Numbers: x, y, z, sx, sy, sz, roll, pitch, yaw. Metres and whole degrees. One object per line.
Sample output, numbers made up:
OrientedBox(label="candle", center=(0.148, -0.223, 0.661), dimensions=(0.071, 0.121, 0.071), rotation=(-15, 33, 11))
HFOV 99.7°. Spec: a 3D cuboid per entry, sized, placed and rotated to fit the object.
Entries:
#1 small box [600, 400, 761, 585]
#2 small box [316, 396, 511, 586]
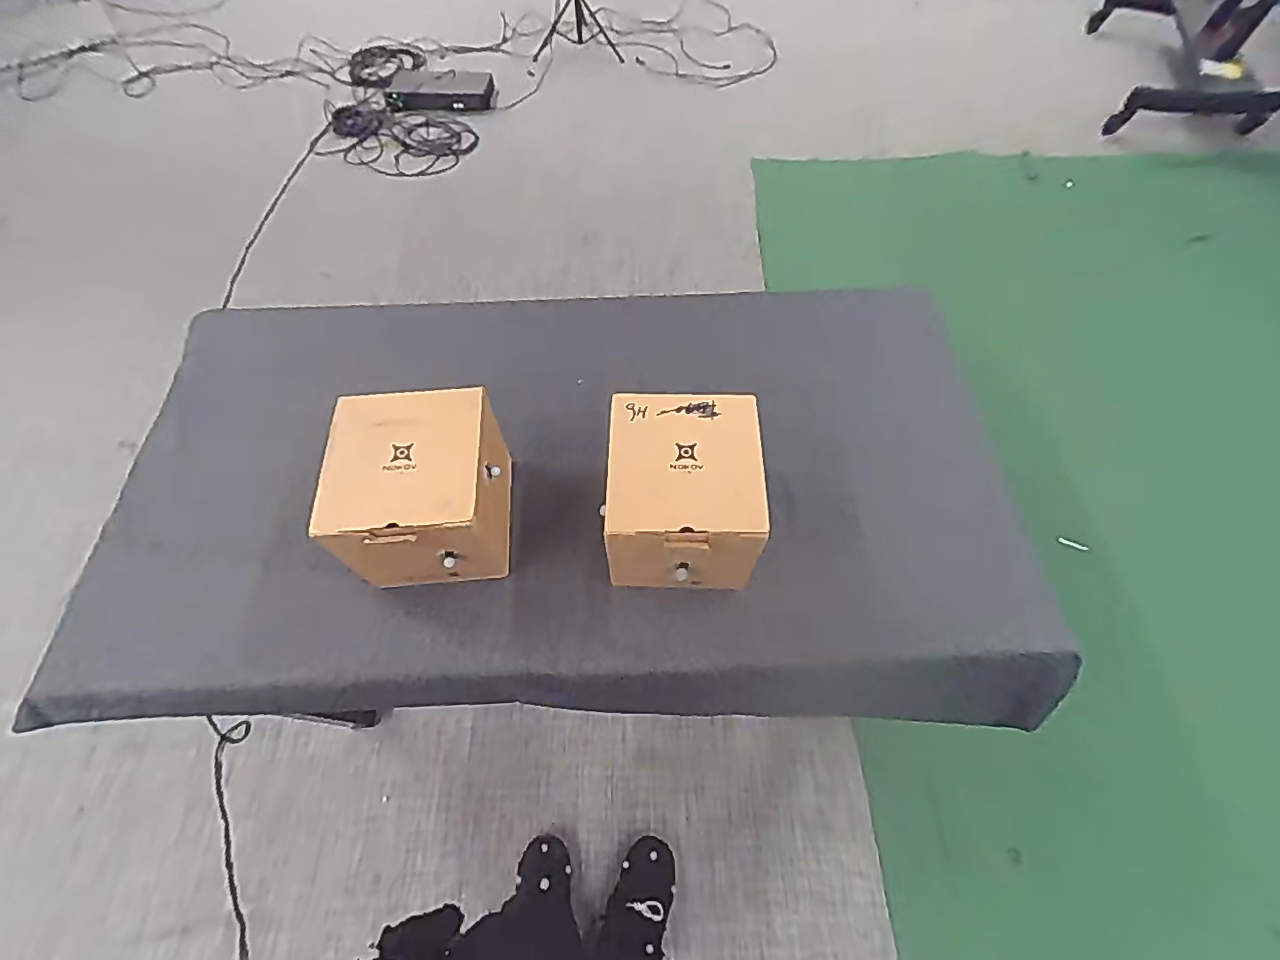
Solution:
OrientedBox(label="small box", center=(0.046, 0.022, 0.653), dimensions=(0.168, 0.176, 0.179), rotation=(0, 62, 1))
OrientedBox(label="small box", center=(-0.257, 0.023, 0.661), dimensions=(0.168, 0.176, 0.179), rotation=(-5, 60, -3))
